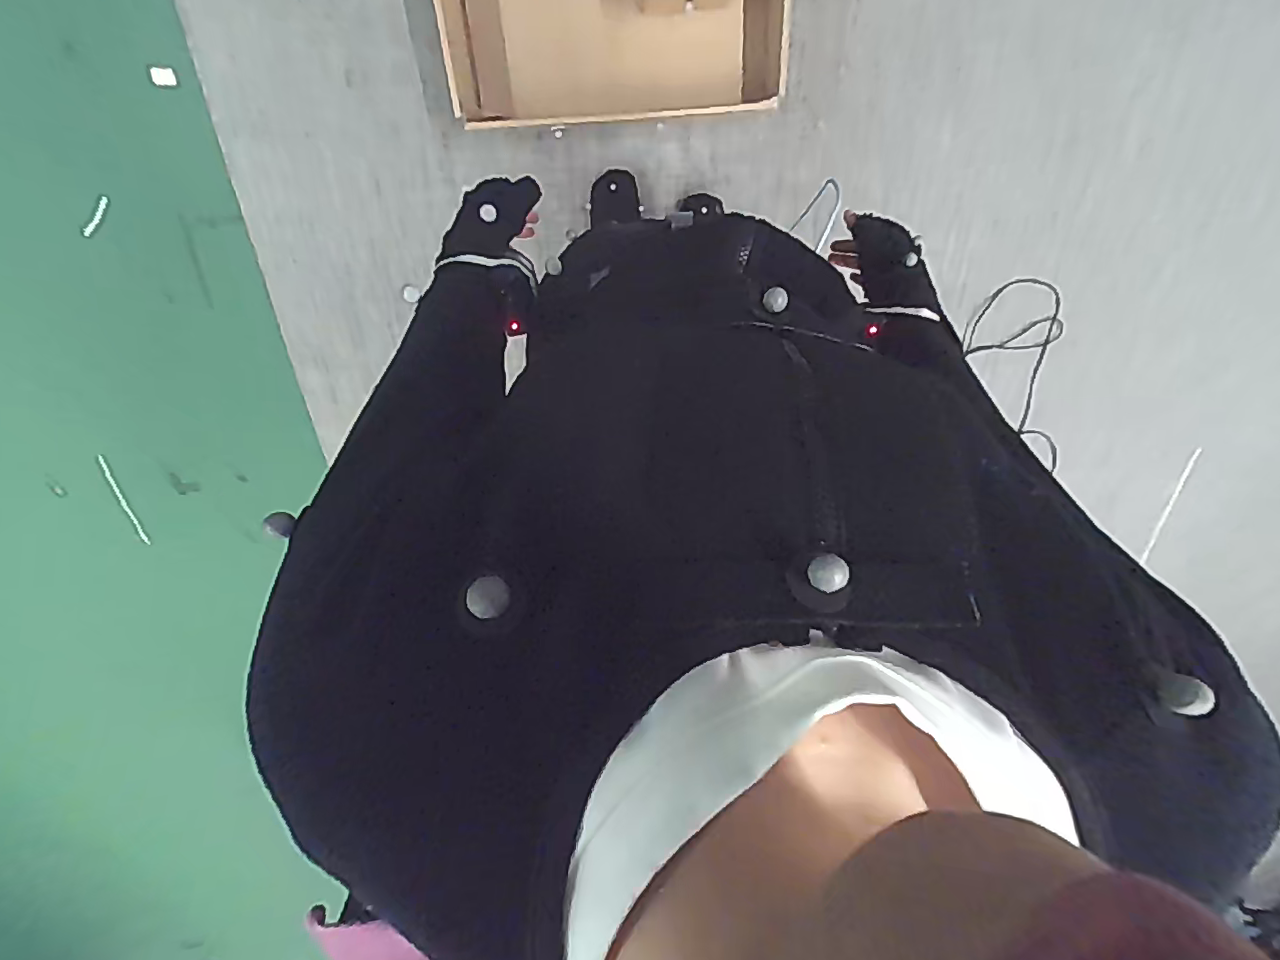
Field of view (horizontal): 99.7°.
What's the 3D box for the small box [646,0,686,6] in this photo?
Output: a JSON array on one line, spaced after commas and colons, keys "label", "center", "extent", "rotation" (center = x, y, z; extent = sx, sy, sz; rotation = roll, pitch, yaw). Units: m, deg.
[{"label": "small box", "center": [0.076, -0.948, 0.924], "extent": [0.168, 0.176, 0.179], "rotation": [-6, 118, 5]}]
